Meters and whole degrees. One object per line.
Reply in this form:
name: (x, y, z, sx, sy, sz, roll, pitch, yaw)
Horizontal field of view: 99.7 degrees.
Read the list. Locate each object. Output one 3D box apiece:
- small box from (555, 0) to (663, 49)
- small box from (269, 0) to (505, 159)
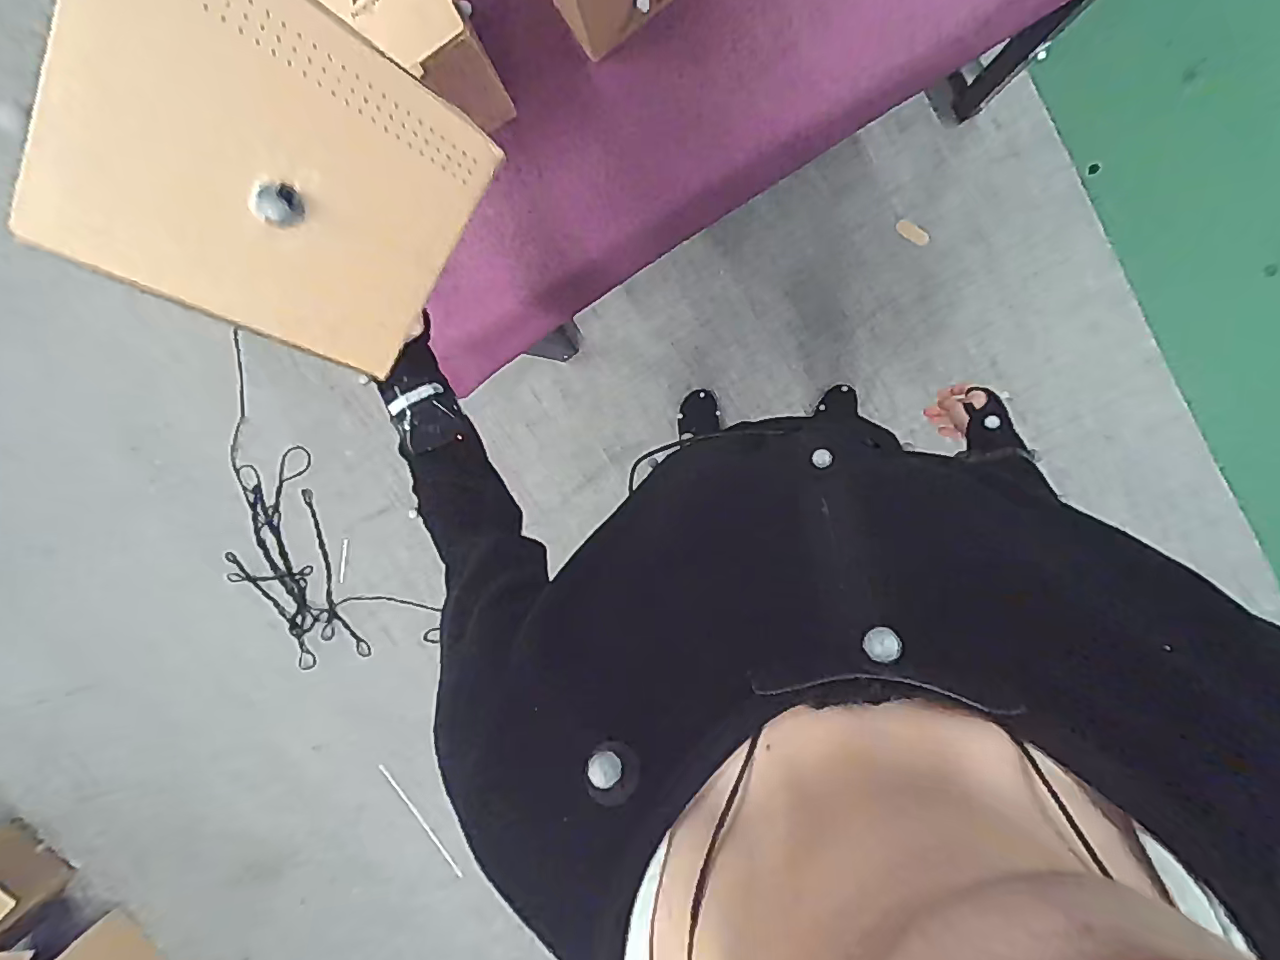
small box: (-0.050, -0.635, 0.584, 0.168, 0.176, 0.179, -33, 96, 10)
small box: (-0.284, -0.509, 0.626, 0.168, 0.176, 0.179, -27, 97, 9)
